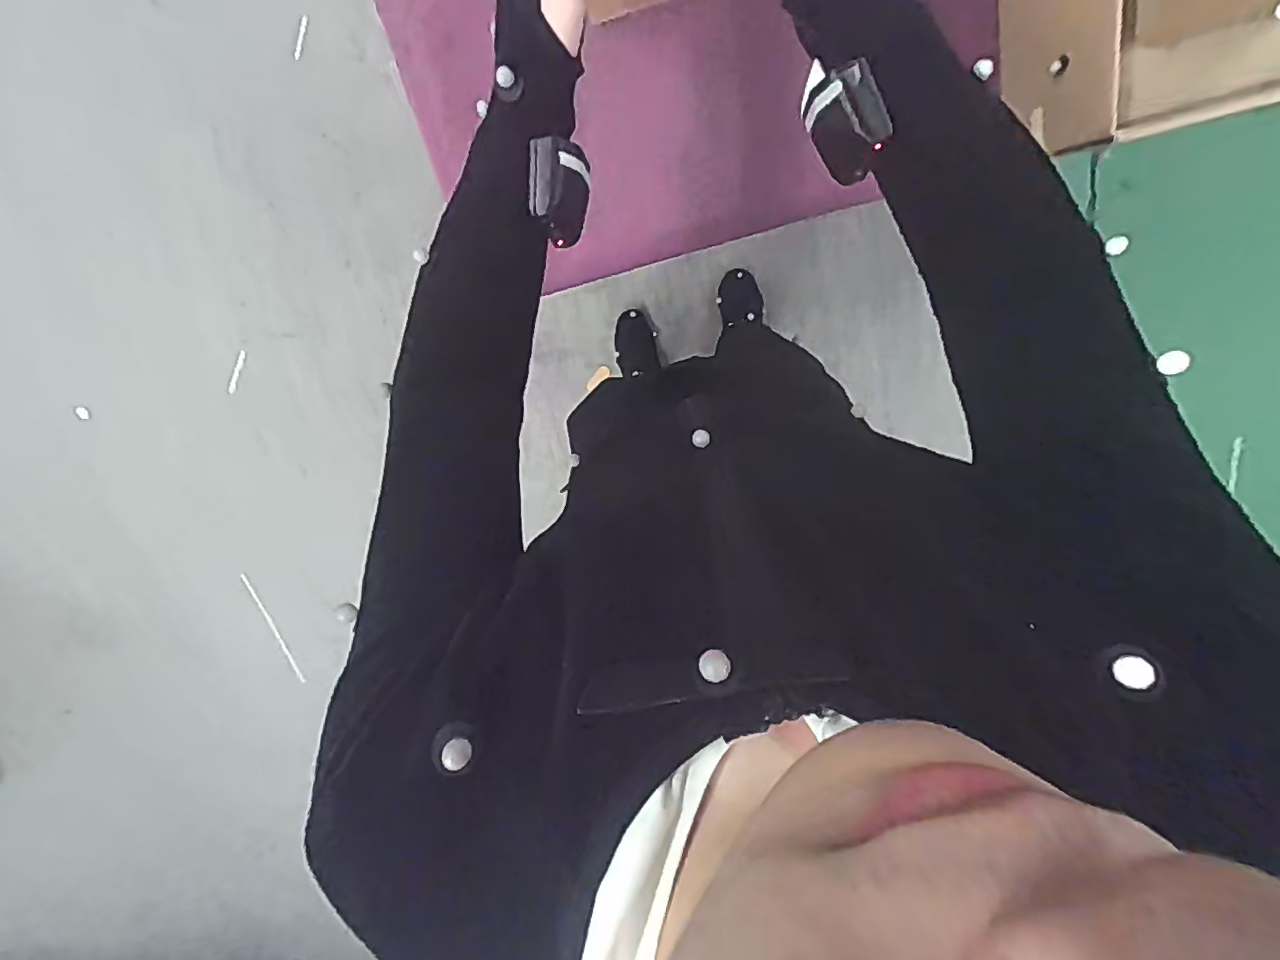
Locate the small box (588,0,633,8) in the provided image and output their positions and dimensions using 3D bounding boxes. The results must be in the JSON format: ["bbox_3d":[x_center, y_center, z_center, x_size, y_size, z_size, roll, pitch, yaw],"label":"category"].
[{"bbox_3d":[-0.008,-0.660,0.586,0.168,0.176,0.179,-13,109,5],"label":"small box"}]
